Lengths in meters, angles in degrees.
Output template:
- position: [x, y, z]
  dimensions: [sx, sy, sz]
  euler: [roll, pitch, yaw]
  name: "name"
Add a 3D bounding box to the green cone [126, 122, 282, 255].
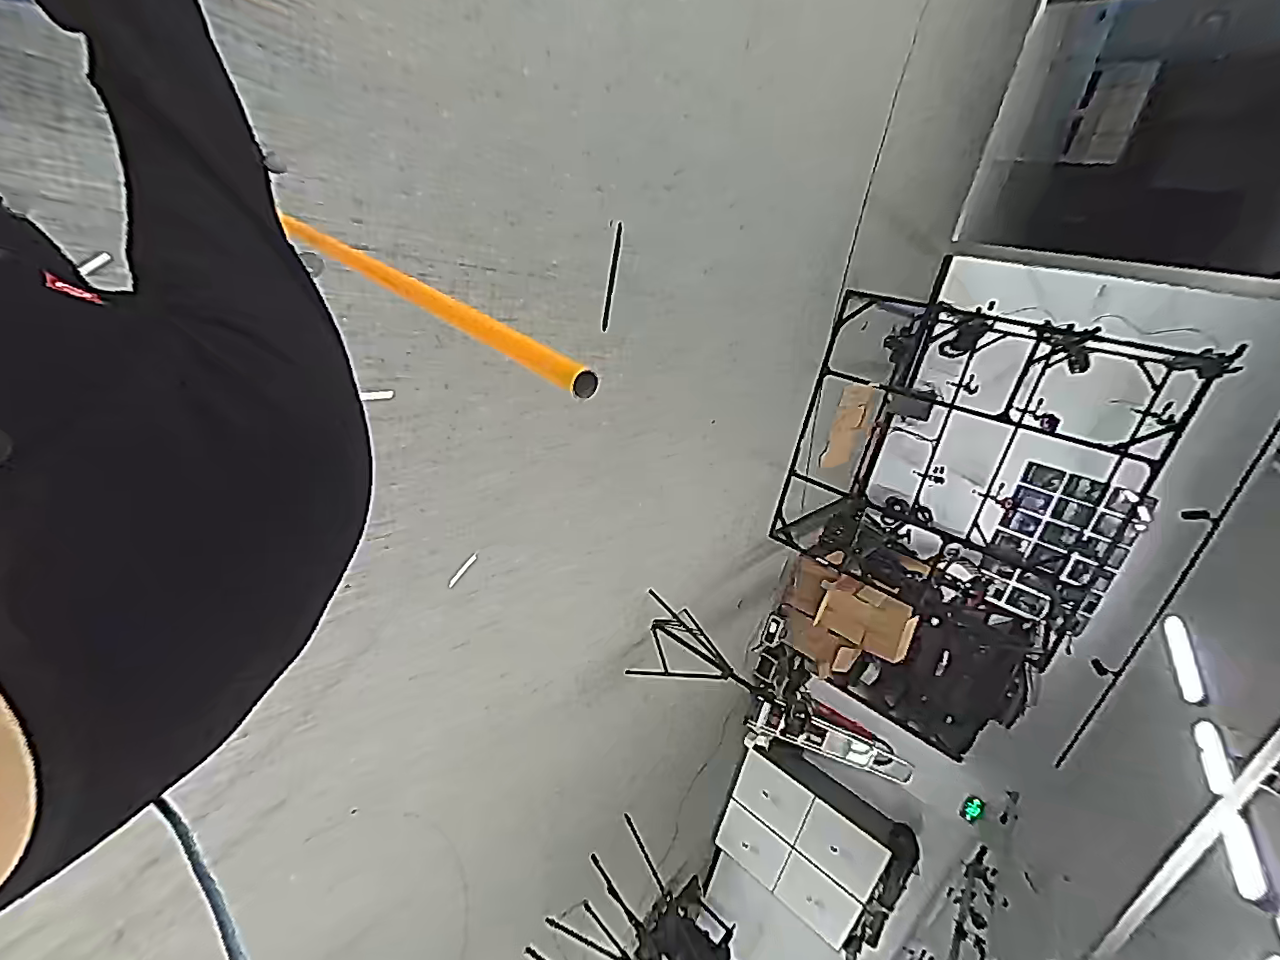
- position: [-0.766, -0.513, 0.998]
  dimensions: [0.202, 0.368, 0.200]
  euler: [-10, 120, -53]
  name: "green cone"
